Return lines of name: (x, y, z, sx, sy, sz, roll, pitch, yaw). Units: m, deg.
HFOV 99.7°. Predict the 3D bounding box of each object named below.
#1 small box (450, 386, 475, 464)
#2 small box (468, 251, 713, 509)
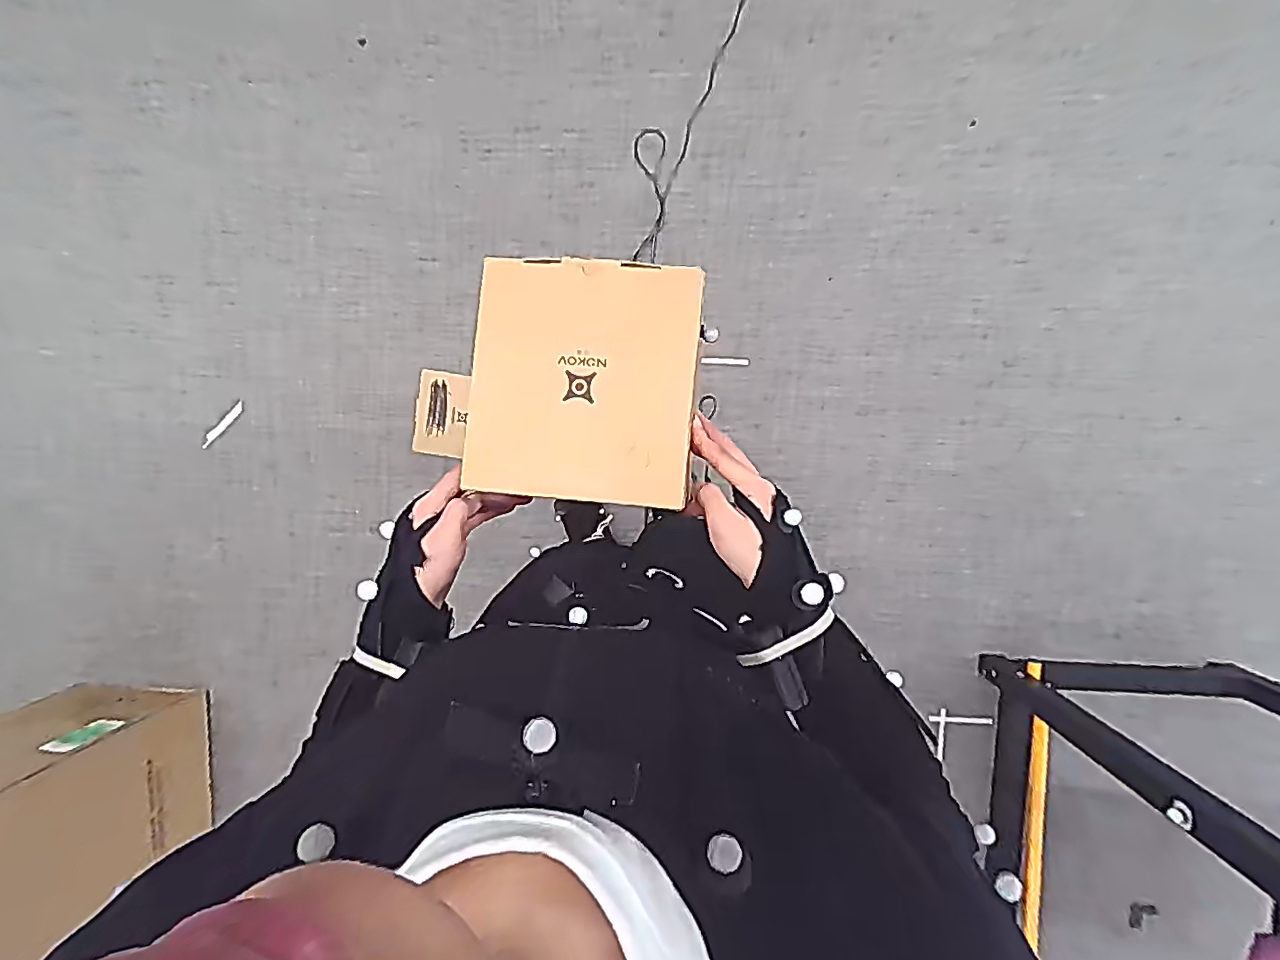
small box: (-0.330, -0.119, 1.291, 0.168, 0.176, 0.179, 10, 95, 5)
small box: (-0.028, -0.070, 0.460, 0.168, 0.176, 0.179, 5, 88, 6)
